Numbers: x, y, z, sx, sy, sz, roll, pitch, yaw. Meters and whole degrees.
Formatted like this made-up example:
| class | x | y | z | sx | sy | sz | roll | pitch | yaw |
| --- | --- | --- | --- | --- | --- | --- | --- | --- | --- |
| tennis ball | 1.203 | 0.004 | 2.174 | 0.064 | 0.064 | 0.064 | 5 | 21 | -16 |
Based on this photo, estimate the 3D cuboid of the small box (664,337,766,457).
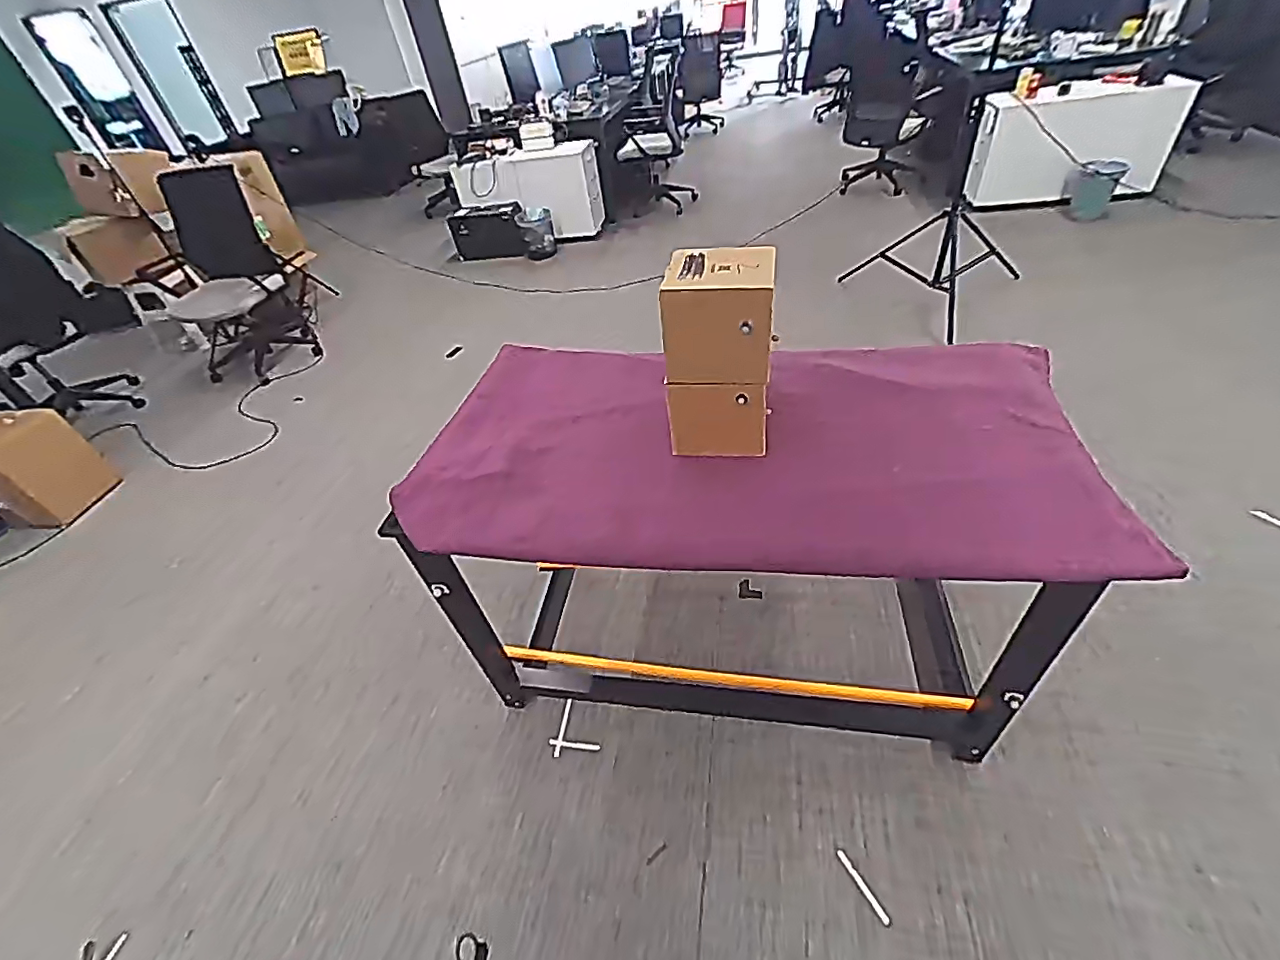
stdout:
| class | x | y | z | sx | sy | sz | roll | pitch | yaw |
| --- | --- | --- | --- | --- | --- | --- | --- | --- | --- |
| small box | 0.149 | -0.157 | 1.036 | 0.179 | 0.176 | 0.168 | 2 | 43 | 12 |
